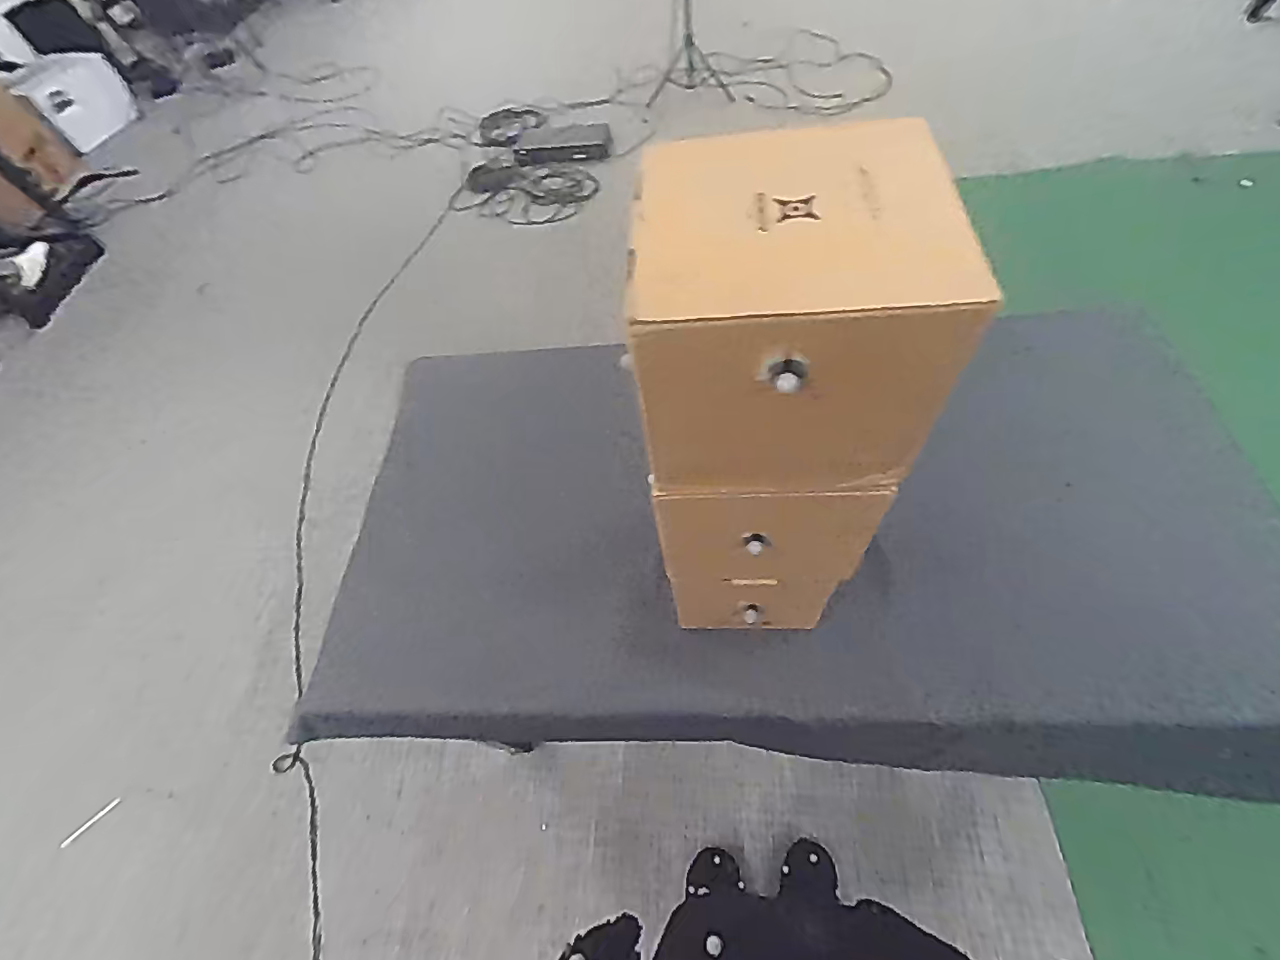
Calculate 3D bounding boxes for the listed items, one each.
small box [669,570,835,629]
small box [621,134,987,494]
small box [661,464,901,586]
[{"bbox_3d":[0.125,0.072,0.644,0.168,0.176,0.179,-2,58,7],"label":"small box"},{"bbox_3d":[0.090,-0.099,0.369,0.179,0.176,0.168,-1,59,7],"label":"small box"},{"bbox_3d":[0.110,-0.008,0.501,0.179,0.176,0.168,-3,58,5],"label":"small box"}]
